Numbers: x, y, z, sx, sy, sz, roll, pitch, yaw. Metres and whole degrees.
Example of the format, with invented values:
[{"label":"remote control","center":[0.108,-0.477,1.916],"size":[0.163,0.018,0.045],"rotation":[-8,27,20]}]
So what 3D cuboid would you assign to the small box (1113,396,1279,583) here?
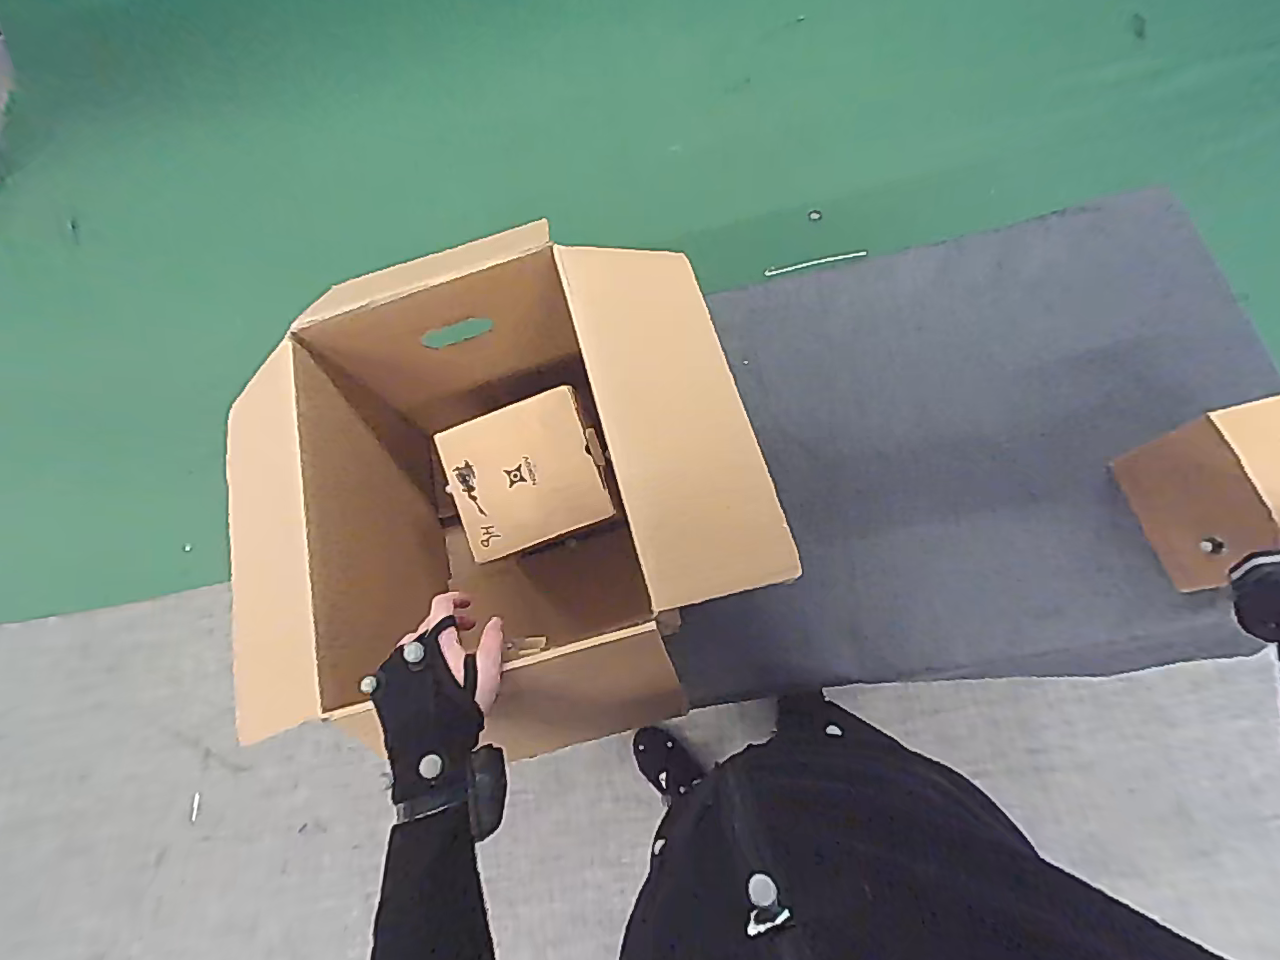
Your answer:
[{"label":"small box","center":[0.707,0.013,0.611],"size":[0.168,0.176,0.179],"rotation":[-14,71,5]}]
